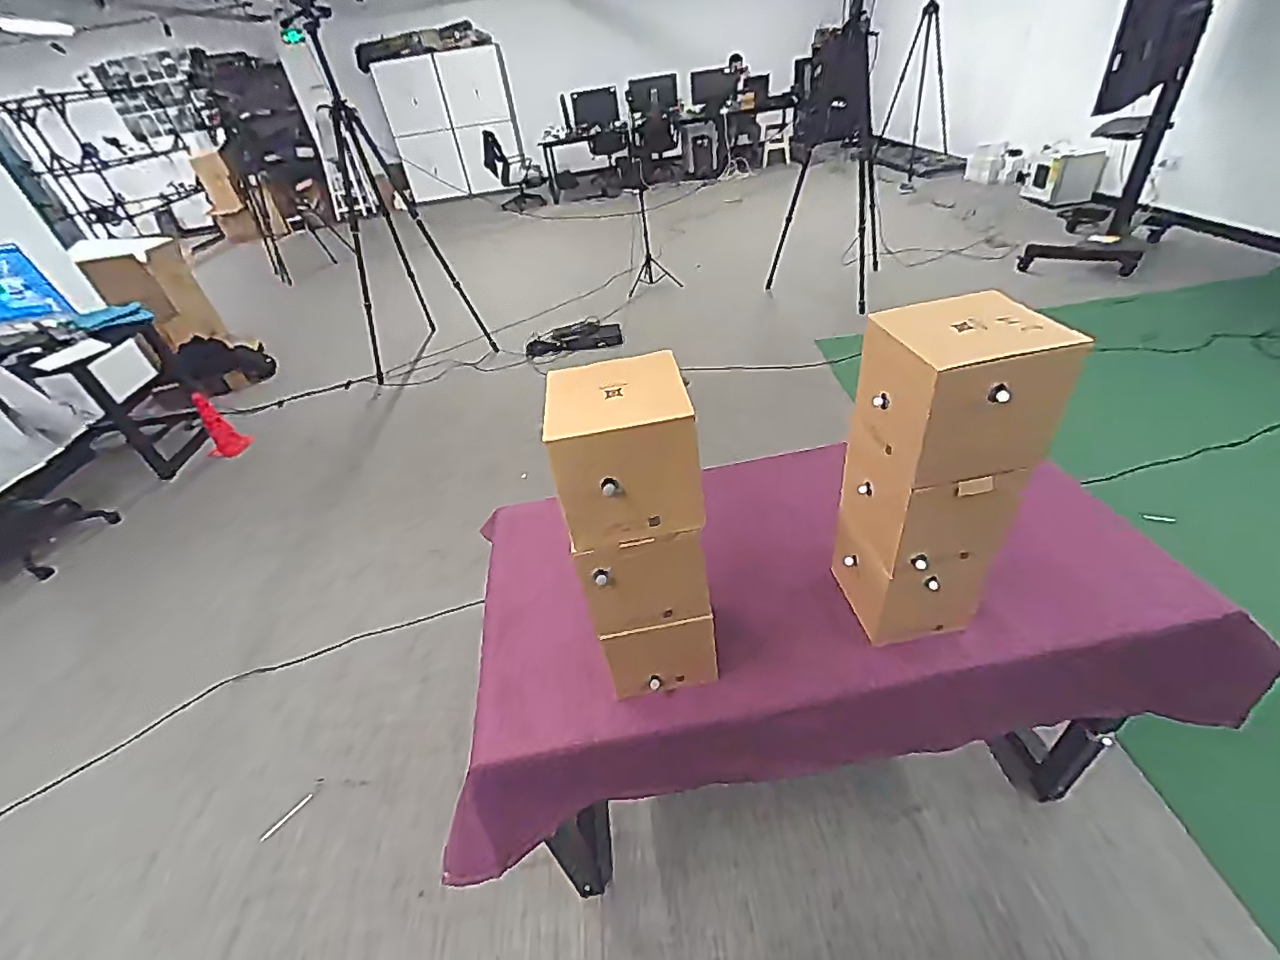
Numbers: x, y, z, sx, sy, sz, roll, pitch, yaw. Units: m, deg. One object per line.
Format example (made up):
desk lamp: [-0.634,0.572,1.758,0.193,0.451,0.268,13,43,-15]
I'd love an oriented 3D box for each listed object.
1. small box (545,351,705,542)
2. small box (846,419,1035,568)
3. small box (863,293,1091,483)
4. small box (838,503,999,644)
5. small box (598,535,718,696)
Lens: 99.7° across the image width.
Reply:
small box: [-0.016,-0.038,0.684,0.168,0.176,0.179,-10,36,0]
small box: [0.419,0.011,0.790,0.168,0.176,0.179,-11,38,-1]
small box: [0.399,-0.114,0.684,0.179,0.176,0.168,-10,39,-1]
small box: [0.440,0.139,0.891,0.168,0.176,0.179,-12,37,0]
small box: [0.028,0.220,0.882,0.168,0.176,0.179,-10,39,0]
